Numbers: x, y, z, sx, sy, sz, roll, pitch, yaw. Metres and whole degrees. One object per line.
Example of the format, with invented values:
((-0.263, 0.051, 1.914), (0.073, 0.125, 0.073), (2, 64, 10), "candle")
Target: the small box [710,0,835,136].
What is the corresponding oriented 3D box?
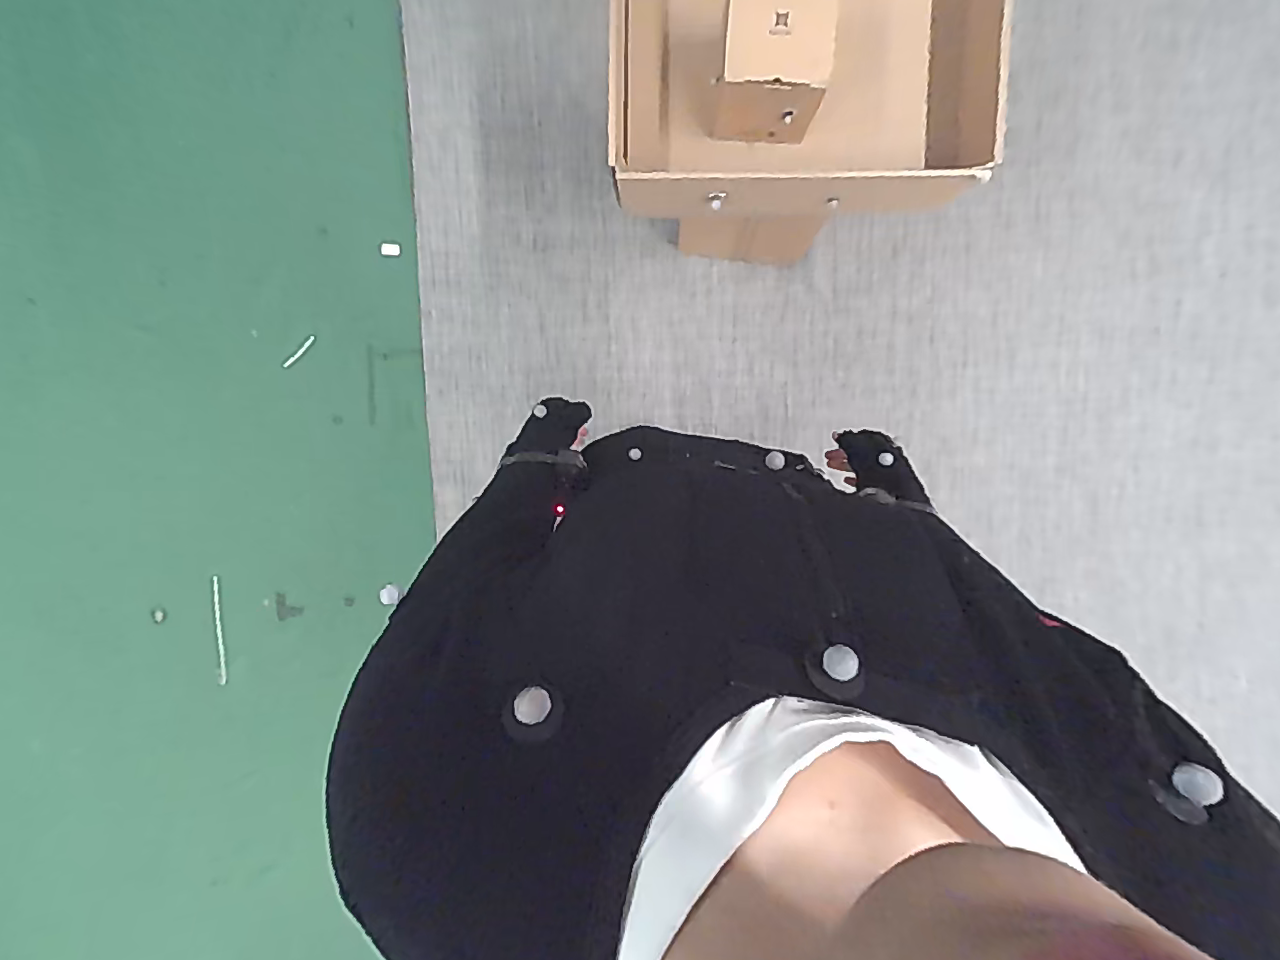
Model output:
((0.209, -0.701, 0.890), (0.168, 0.176, 0.179), (3, 94, -1), "small box")
